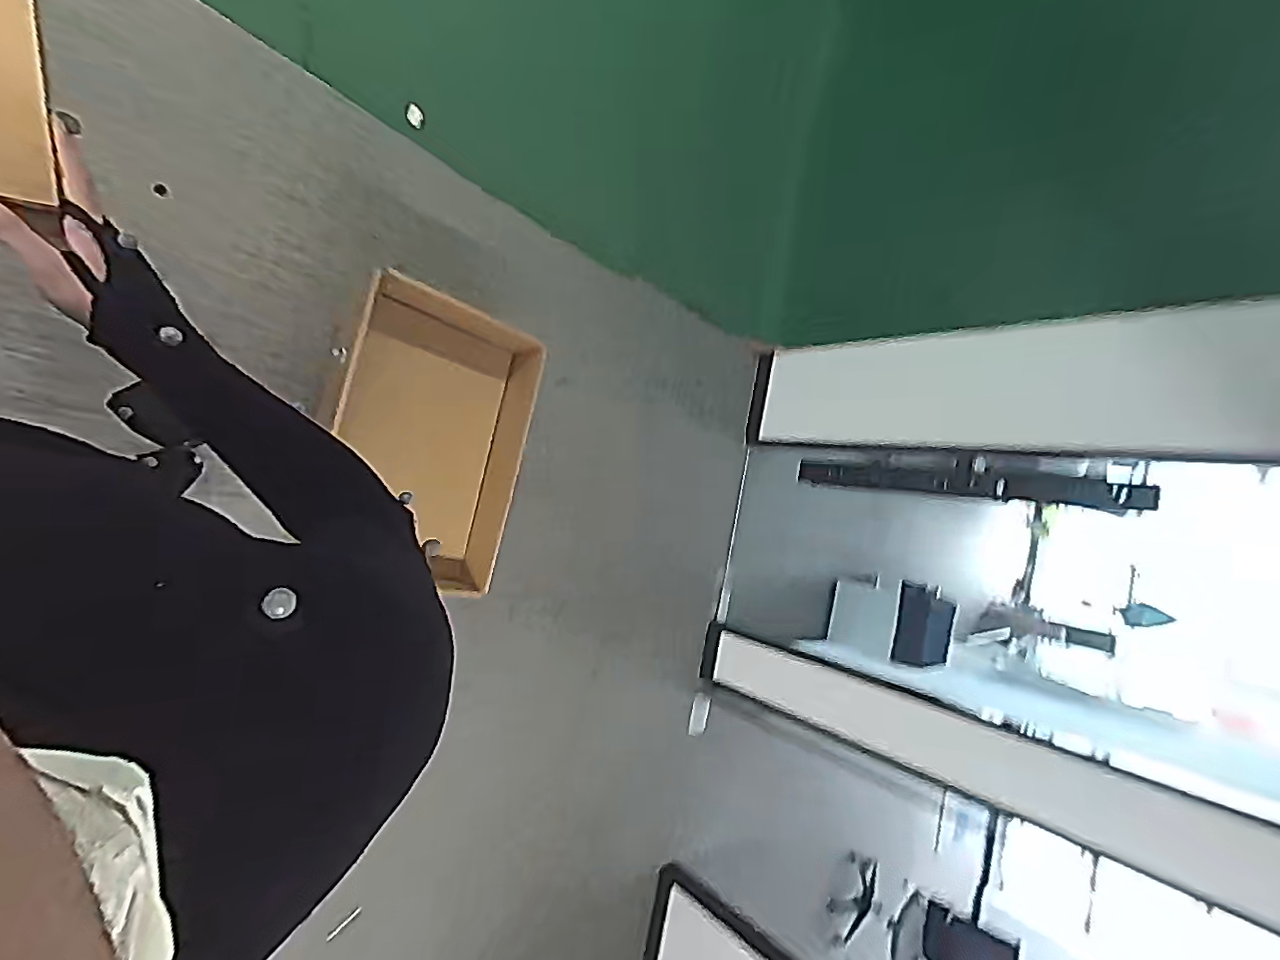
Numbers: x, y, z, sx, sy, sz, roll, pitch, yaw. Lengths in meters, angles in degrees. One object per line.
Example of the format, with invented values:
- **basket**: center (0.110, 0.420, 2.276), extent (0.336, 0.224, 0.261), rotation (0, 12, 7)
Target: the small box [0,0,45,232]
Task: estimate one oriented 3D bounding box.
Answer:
- **small box**: center (-0.572, -0.304, 0.397), extent (0.168, 0.176, 0.179), rotation (-9, 104, -45)
